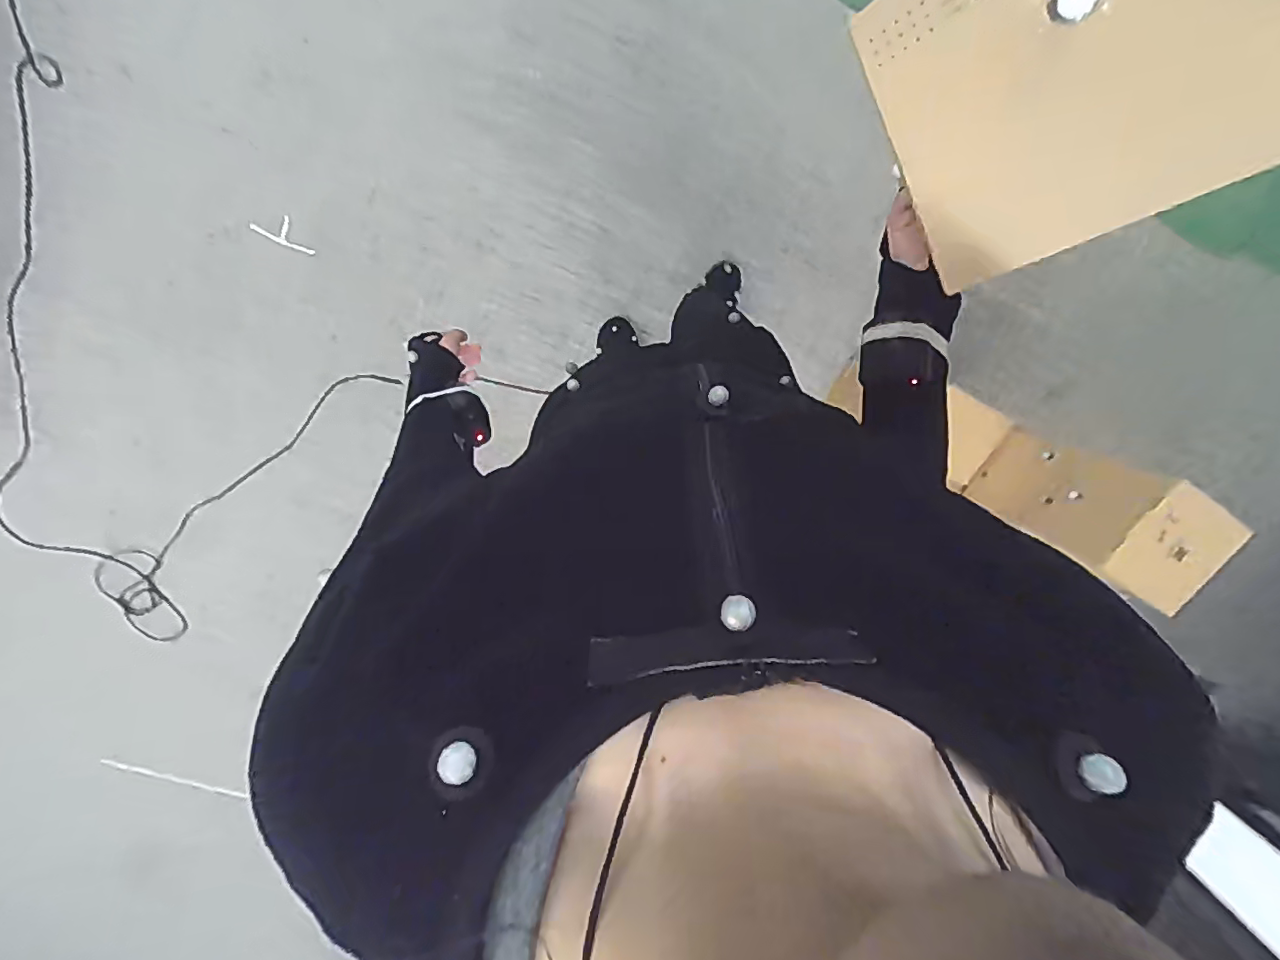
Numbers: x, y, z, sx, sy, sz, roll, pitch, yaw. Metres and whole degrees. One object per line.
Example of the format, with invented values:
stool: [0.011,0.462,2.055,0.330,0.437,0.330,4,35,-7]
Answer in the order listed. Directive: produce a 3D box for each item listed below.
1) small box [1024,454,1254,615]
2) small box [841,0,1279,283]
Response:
small box: [0.788,0.079,0.873,0.179,0.176,0.168,30,103,-12]
small box: [0.240,-0.258,0.322,0.168,0.179,0.176,-17,119,40]
